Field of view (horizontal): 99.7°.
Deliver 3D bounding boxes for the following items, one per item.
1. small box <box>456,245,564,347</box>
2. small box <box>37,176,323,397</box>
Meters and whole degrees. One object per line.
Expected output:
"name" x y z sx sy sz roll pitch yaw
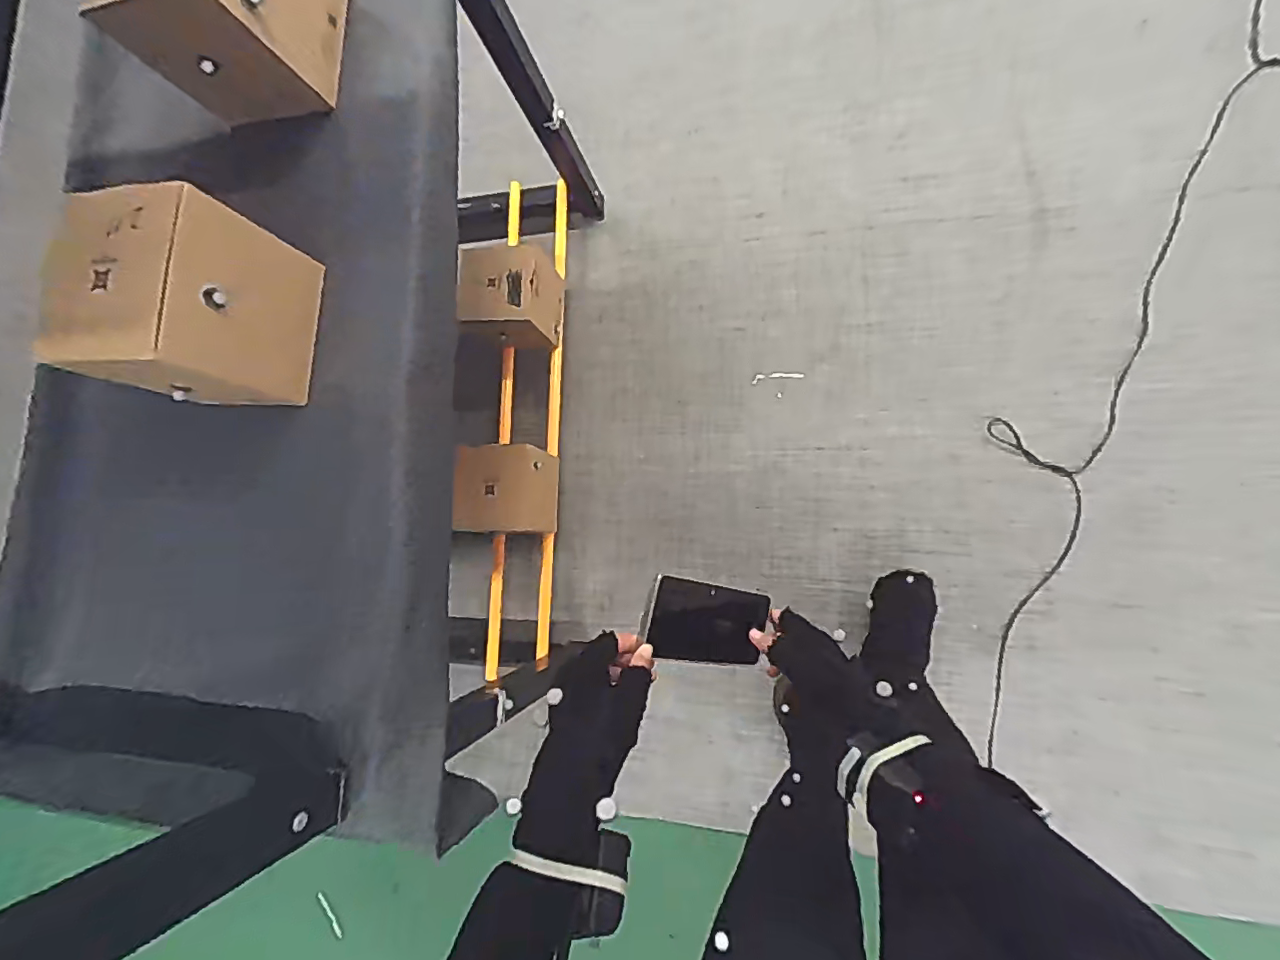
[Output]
"small box" -0.282 -0.405 1.213 0.179 0.176 0.168 3 84 14
"small box" -0.483 -0.193 0.591 0.168 0.176 0.179 3 84 14
